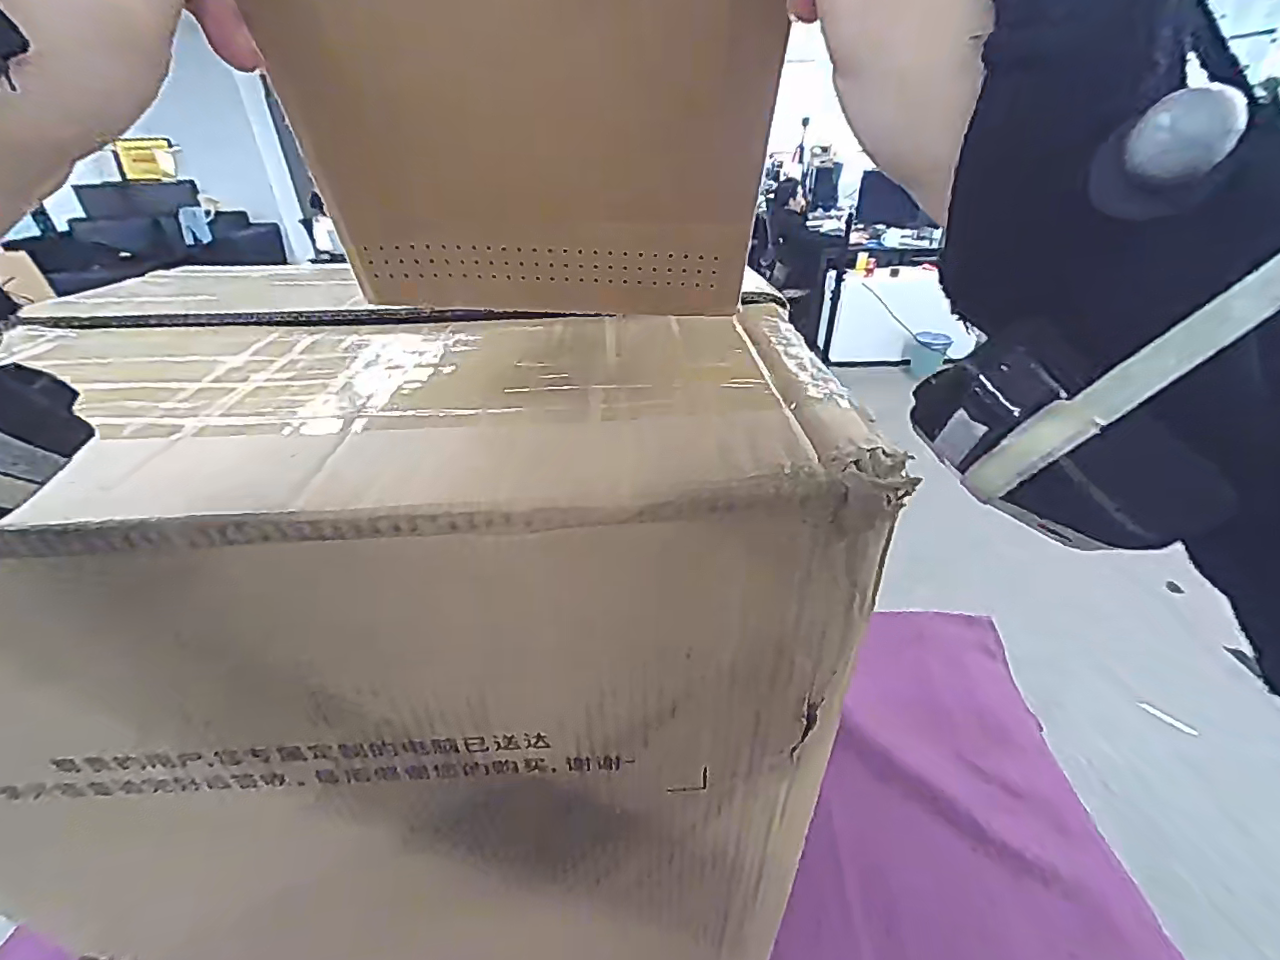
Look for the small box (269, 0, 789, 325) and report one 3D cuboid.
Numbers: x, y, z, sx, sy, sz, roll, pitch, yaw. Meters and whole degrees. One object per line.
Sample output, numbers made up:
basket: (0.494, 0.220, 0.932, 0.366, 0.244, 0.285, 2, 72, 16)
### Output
small box: (-0.037, -0.186, 0.240, 0.179, 0.176, 0.168, 2, 52, -2)
